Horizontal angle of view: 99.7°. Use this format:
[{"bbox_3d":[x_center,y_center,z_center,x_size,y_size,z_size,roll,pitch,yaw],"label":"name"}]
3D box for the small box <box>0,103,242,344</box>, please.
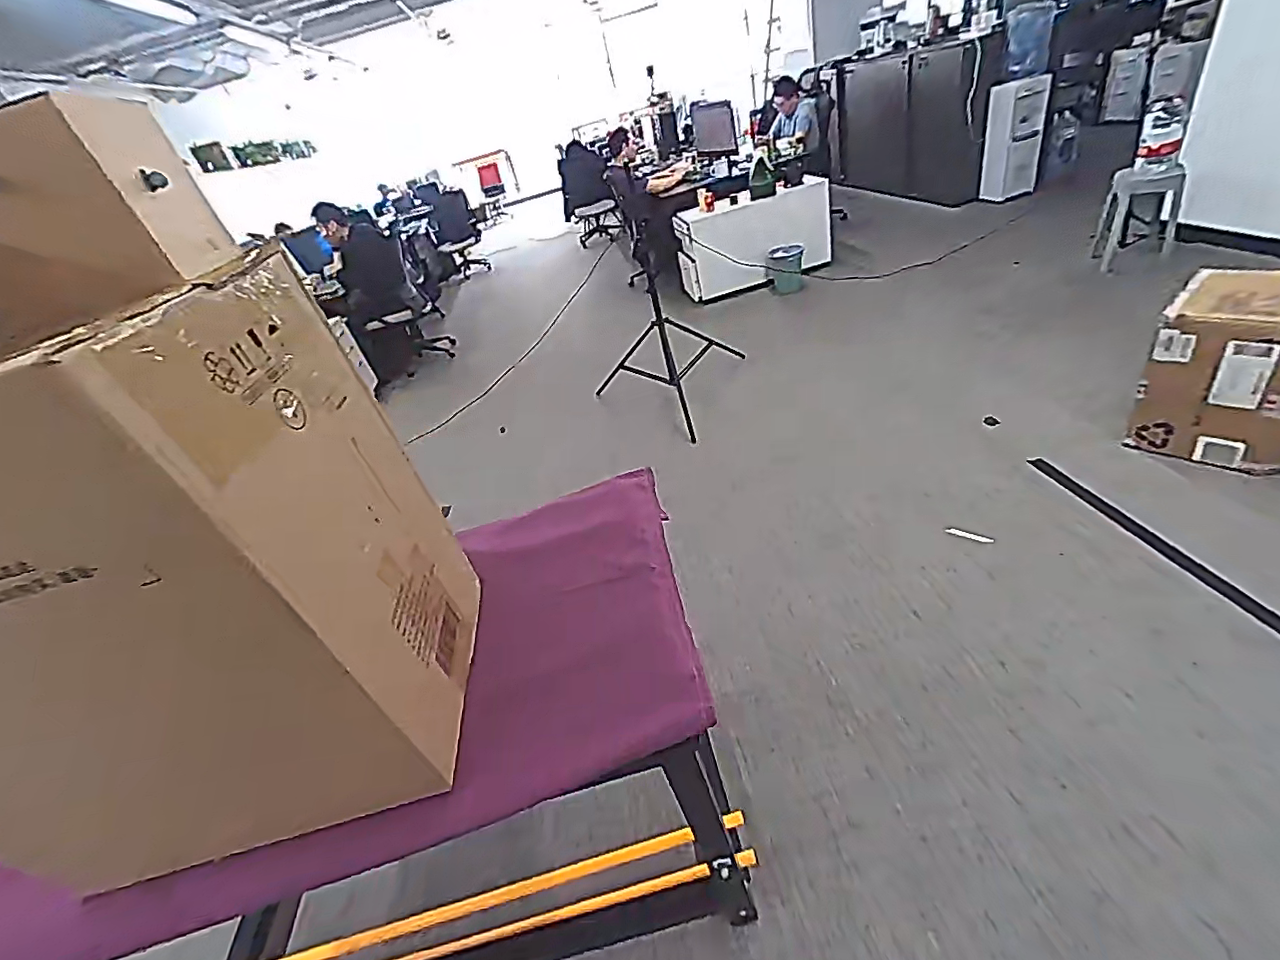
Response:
[{"bbox_3d":[-0.572,-0.267,0.564,0.179,0.176,0.168,-21,34,-3],"label":"small box"}]
